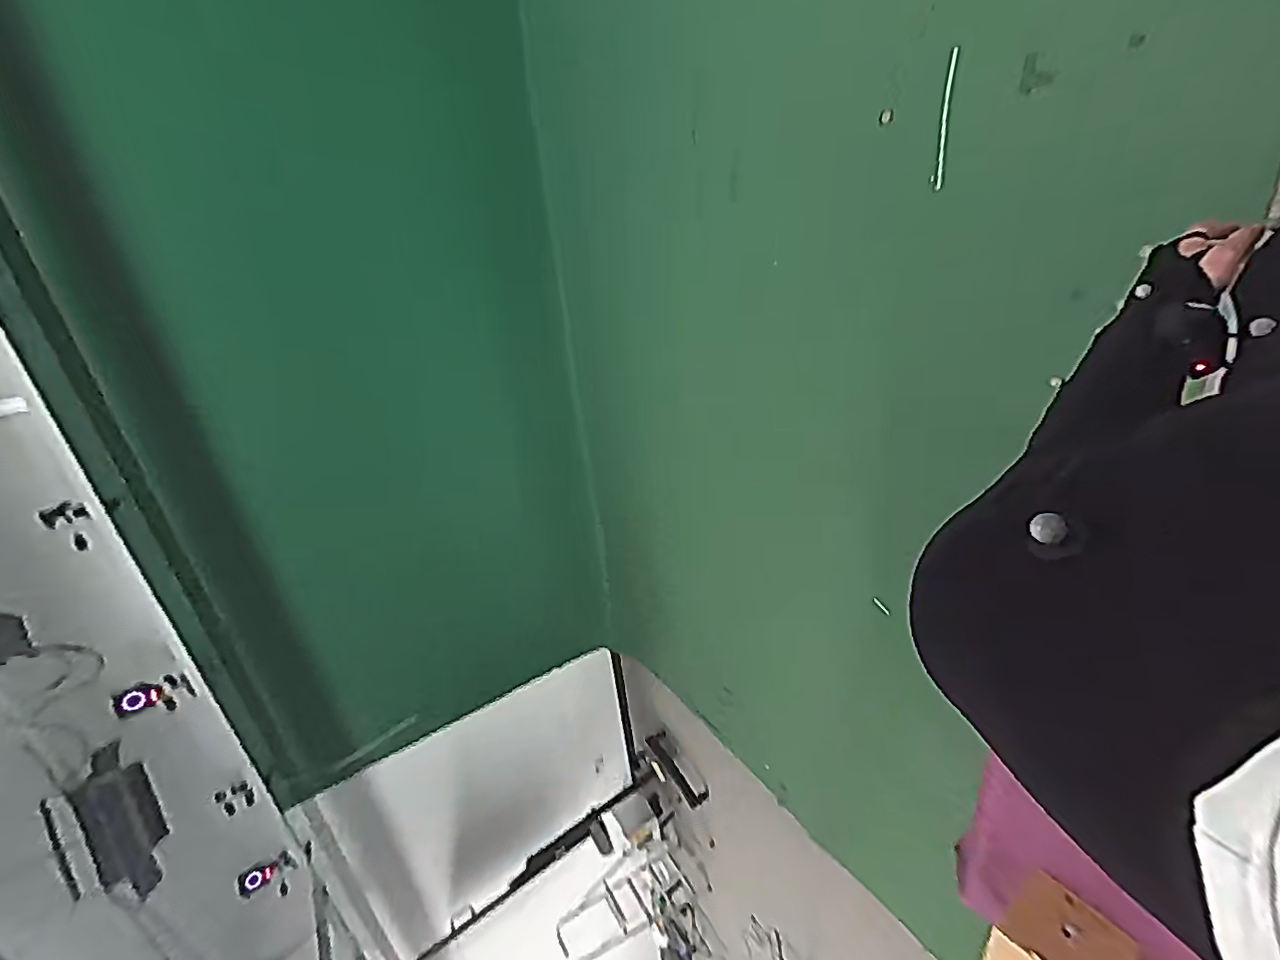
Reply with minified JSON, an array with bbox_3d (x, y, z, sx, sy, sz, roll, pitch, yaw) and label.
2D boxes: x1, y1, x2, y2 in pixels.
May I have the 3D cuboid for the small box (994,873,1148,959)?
[{"bbox_3d":[0.779,0.879,0.986,0.168,0.176,0.179,28,130,52],"label":"small box"}]
